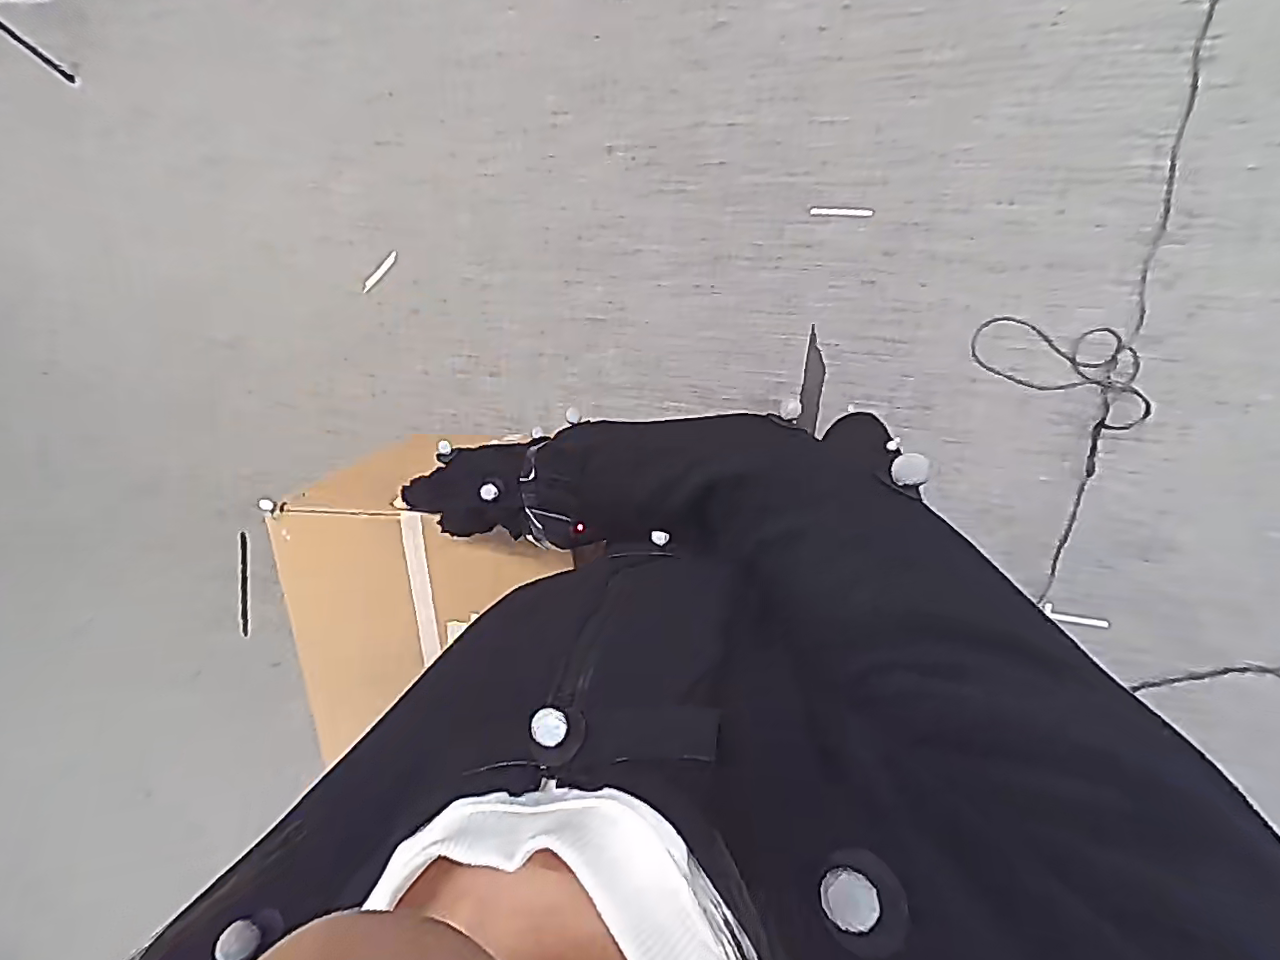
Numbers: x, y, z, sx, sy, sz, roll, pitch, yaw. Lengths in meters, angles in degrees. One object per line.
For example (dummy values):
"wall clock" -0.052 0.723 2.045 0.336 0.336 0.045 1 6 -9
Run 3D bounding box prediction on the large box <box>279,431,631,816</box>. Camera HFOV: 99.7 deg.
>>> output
"large box" -0.192 0.160 0.730 0.320 0.320 0.408 0 107 6
